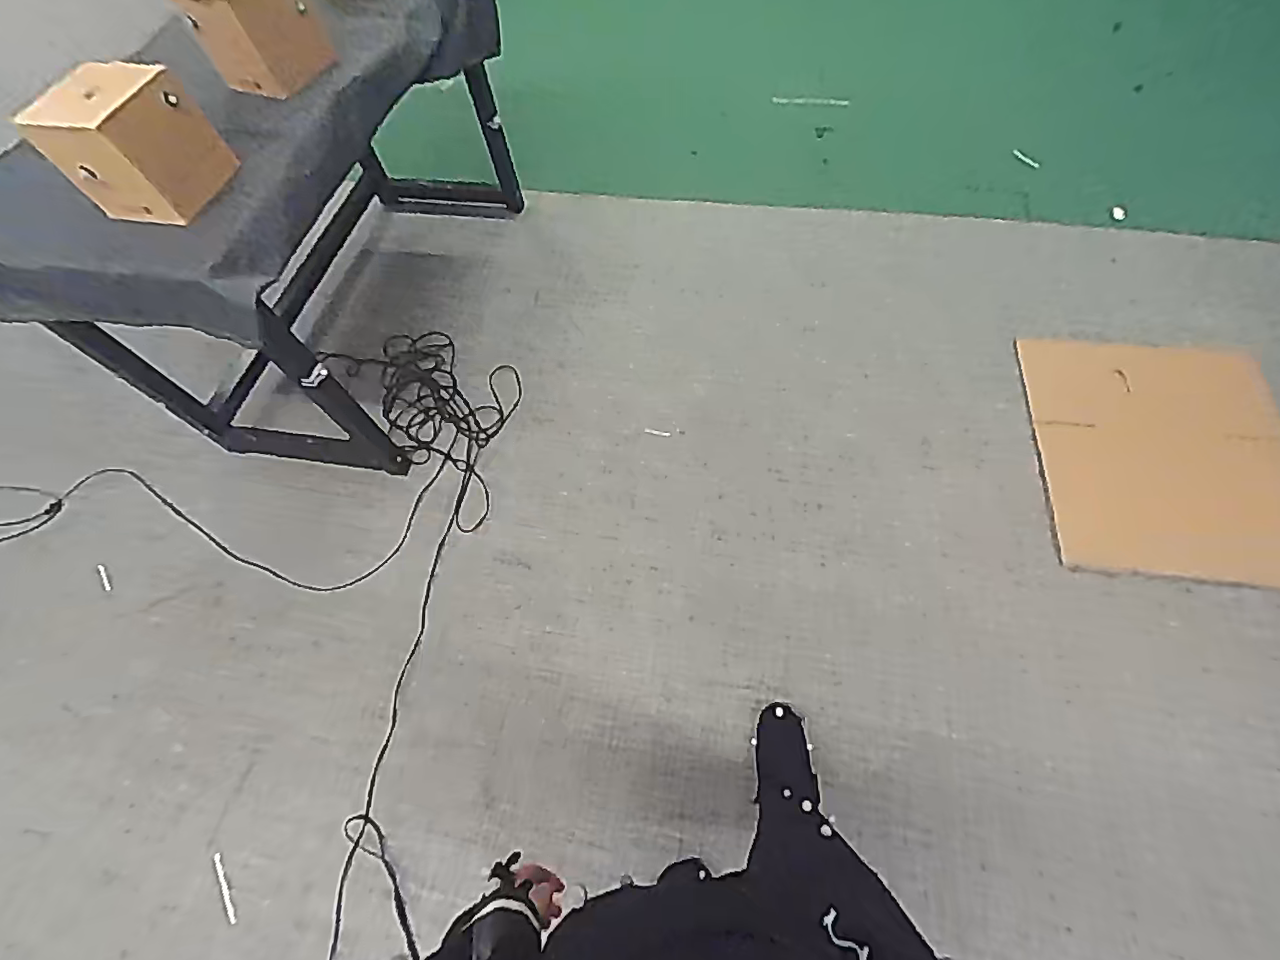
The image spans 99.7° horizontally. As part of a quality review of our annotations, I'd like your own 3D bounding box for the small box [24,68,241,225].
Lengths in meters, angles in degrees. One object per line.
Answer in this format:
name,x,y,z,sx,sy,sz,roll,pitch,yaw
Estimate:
small box,-0.839,-0.560,0.918,0.168,0.176,0.179,9,63,10
